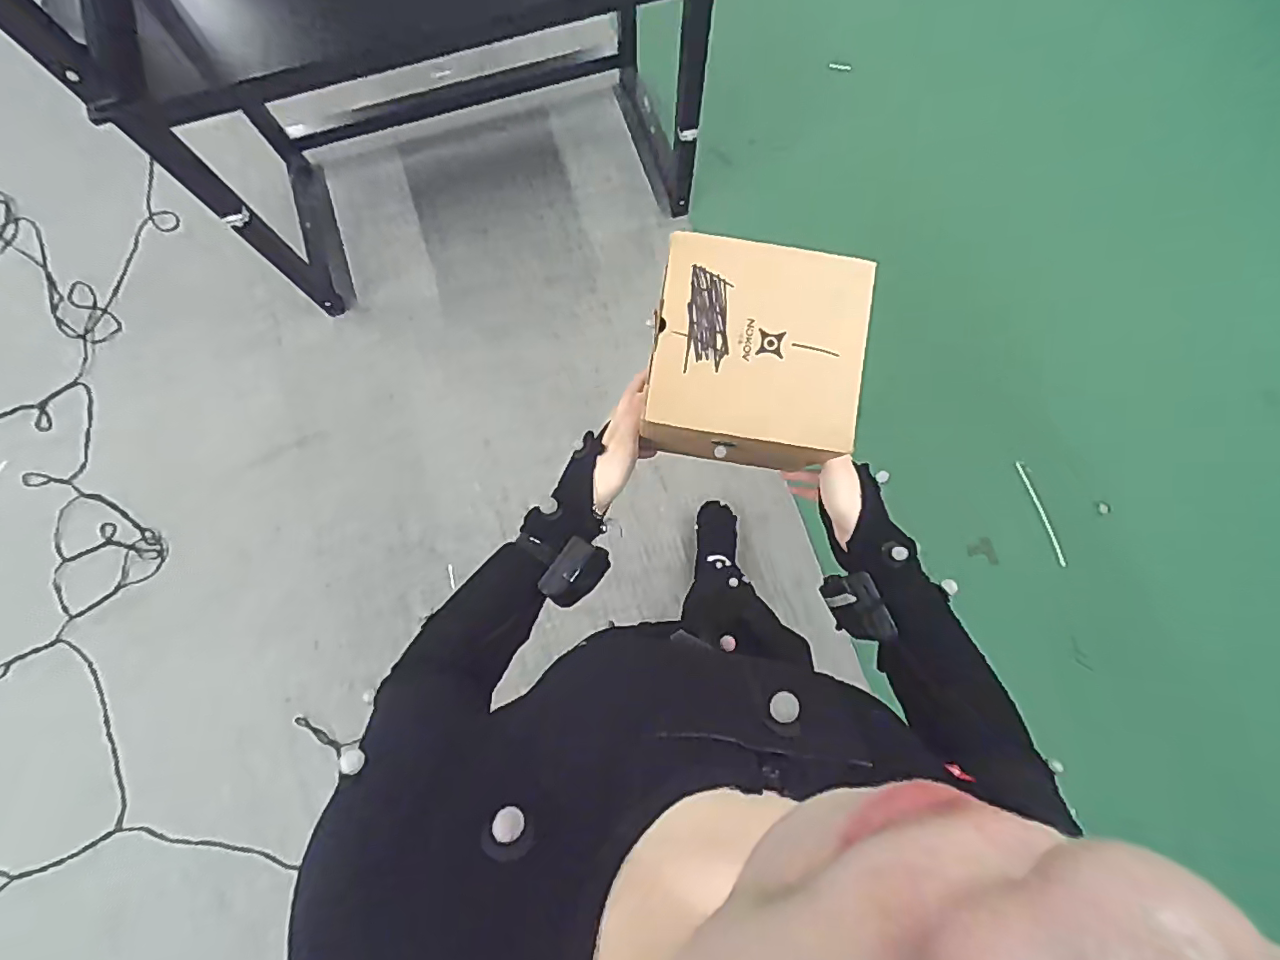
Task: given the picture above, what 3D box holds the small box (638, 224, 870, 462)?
[{"bbox_3d":[0.094,-0.115,0.526,0.179,0.176,0.168,9,86,-1],"label":"small box"}]
